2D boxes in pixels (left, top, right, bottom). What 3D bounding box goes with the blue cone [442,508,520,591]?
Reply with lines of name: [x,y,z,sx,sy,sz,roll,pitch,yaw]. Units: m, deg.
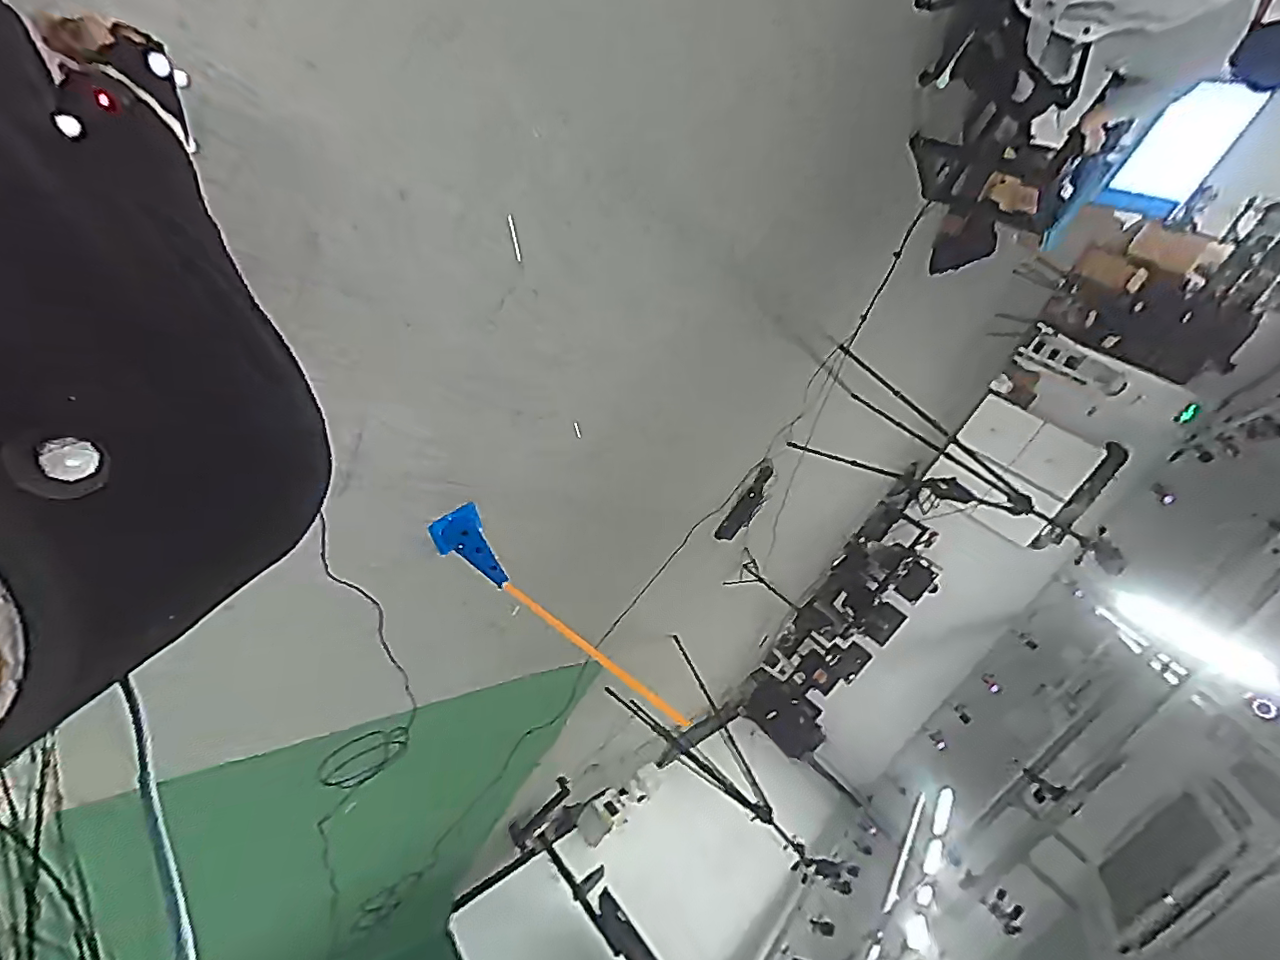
blue cone: [-0.590,0.295,2.105,0.193,0.380,0.192,-36,146,-25]
